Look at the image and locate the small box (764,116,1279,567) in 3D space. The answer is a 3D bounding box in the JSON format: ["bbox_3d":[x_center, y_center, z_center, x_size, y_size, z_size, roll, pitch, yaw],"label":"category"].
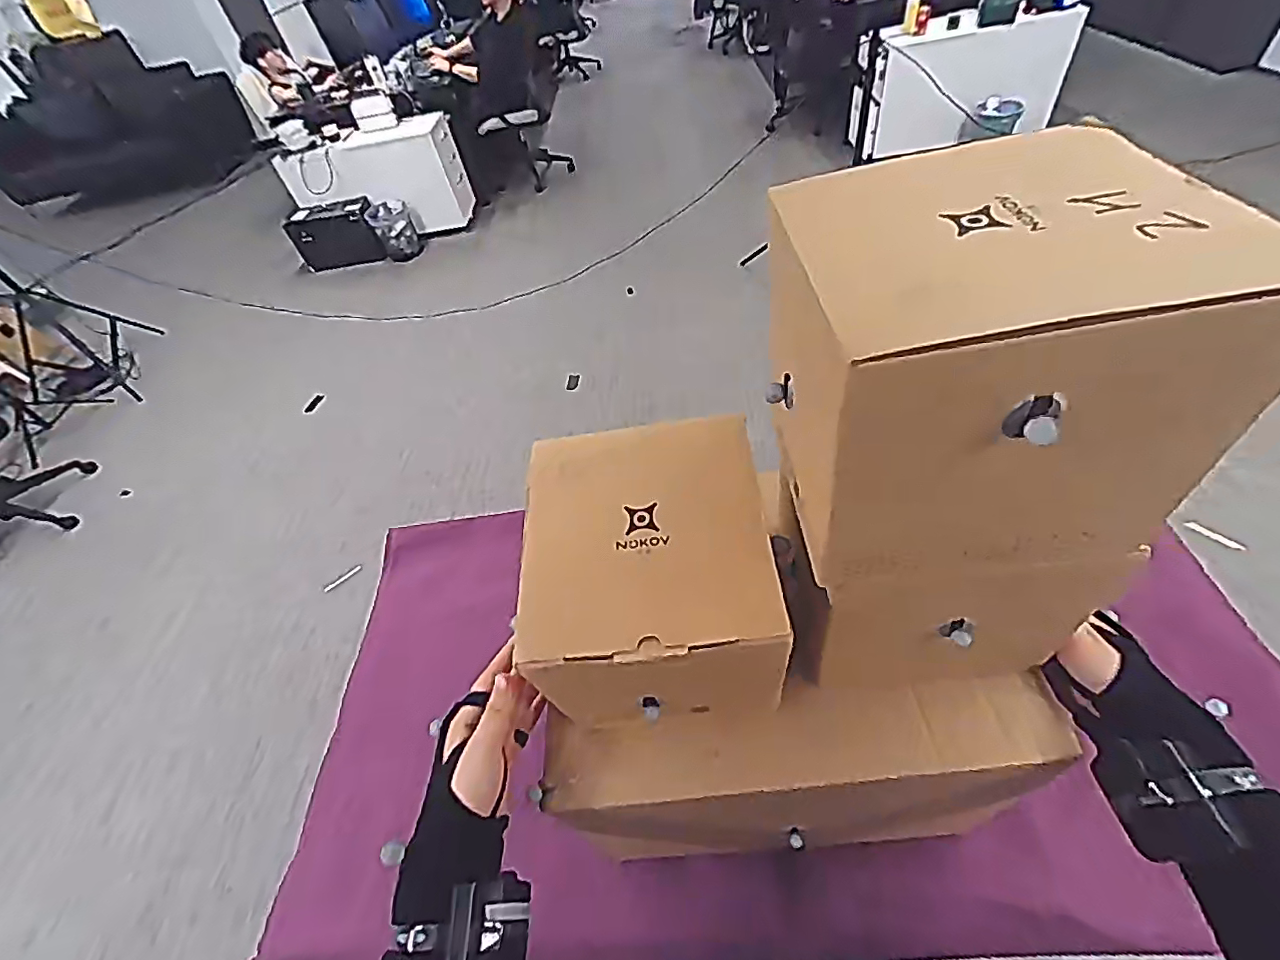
[{"bbox_3d":[0.171,-0.066,0.299,0.179,0.176,0.168,-8,48,7],"label":"small box"}]
